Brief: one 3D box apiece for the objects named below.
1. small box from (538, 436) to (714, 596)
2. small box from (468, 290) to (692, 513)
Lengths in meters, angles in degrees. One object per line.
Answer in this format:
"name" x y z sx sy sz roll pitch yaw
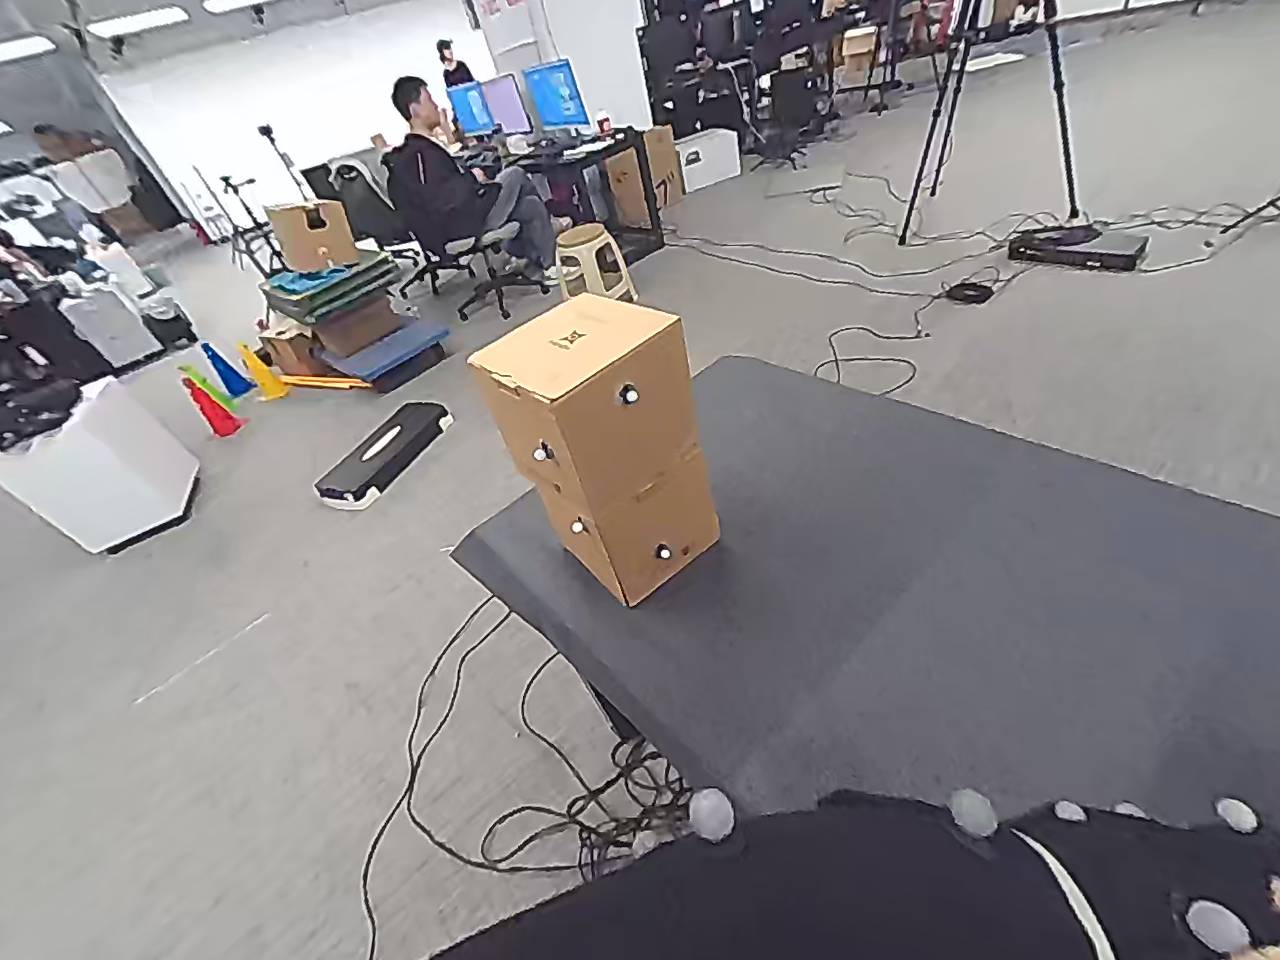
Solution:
"small box" -0.021 0.022 0.730 0.168 0.176 0.179 -34 43 -20
"small box" -0.058 -0.092 0.621 0.179 0.176 0.168 -38 46 -25
